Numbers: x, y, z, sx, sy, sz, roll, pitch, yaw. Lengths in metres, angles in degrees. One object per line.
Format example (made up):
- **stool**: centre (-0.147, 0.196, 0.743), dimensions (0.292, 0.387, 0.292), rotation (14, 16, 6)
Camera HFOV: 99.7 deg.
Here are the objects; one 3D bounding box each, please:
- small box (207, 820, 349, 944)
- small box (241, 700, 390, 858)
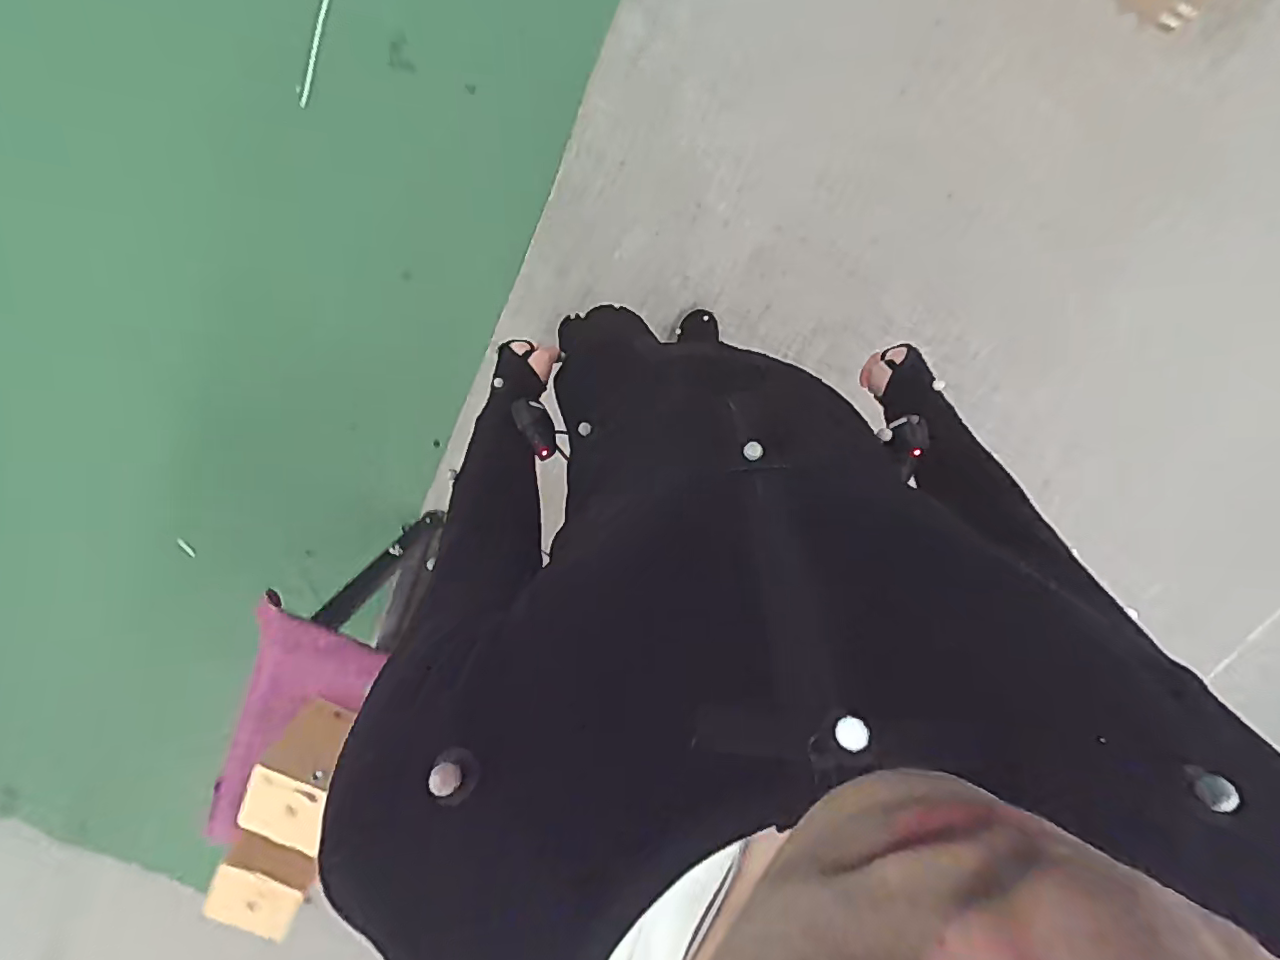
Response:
- **small box**: centre (-0.744, 0.803, 1.127), dimensions (0.168, 0.176, 0.179), rotation (26, 108, -8)
- **small box**: centre (-0.611, 0.567, 1.036), dimensions (0.168, 0.176, 0.179), rotation (26, 111, -7)
